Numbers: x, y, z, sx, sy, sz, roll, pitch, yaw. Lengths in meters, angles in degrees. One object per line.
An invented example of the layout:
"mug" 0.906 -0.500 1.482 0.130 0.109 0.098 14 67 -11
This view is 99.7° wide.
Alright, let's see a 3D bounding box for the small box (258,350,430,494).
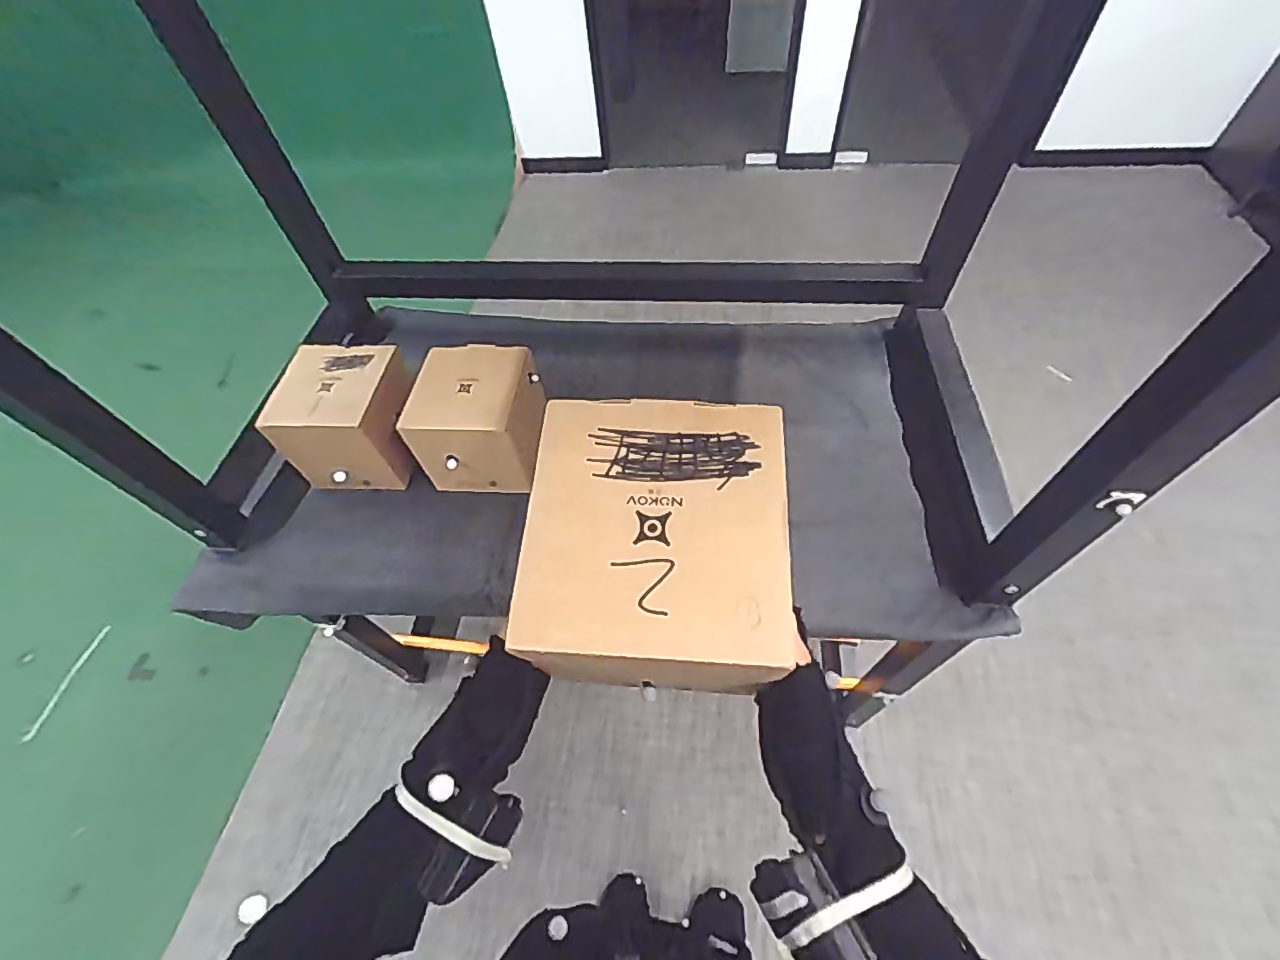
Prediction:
"small box" -0.475 -0.096 0.904 0.168 0.176 0.179 1 55 6
